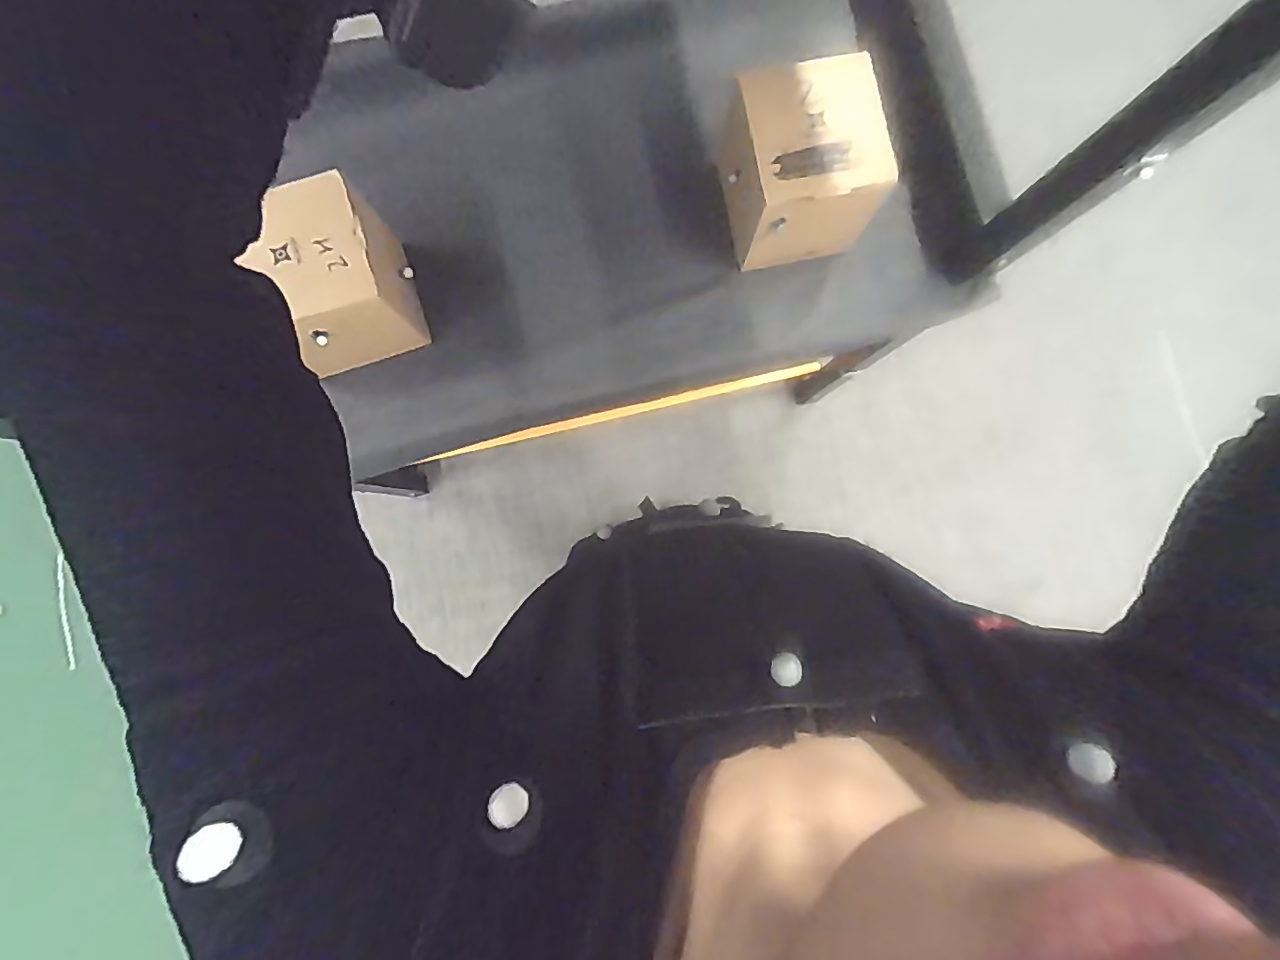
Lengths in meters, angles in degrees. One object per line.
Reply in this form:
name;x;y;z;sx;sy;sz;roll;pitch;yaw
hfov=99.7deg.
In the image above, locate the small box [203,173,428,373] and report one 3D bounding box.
small box;-0.413;-0.258;0.716;0.179;0.176;0.168;-18;86;-3
